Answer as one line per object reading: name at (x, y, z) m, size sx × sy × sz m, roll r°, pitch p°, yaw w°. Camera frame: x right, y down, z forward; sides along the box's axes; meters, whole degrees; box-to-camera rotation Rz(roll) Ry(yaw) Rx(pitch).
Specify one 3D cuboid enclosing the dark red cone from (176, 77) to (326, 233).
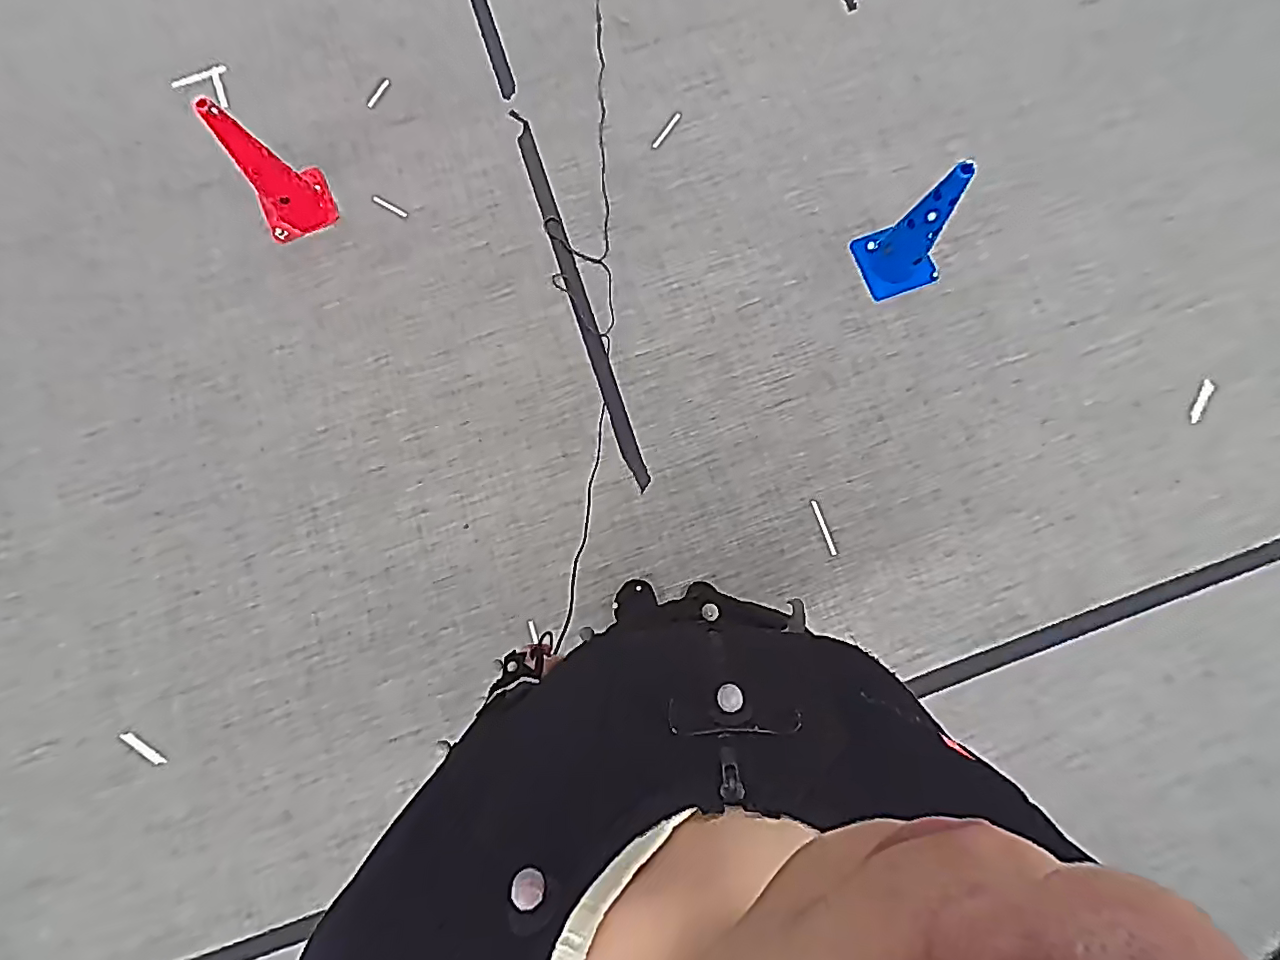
dark red cone at (-1.027, -0.854, 1.407) m, size 0.201 × 0.394 × 0.202 m, roll -26°, pitch 80°, yaw -5°

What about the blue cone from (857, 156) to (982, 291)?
blue cone at (0.723, -0.661, 1.366) m, size 0.192 × 0.380 × 0.193 m, roll -18°, pitch 80°, yaw -3°
